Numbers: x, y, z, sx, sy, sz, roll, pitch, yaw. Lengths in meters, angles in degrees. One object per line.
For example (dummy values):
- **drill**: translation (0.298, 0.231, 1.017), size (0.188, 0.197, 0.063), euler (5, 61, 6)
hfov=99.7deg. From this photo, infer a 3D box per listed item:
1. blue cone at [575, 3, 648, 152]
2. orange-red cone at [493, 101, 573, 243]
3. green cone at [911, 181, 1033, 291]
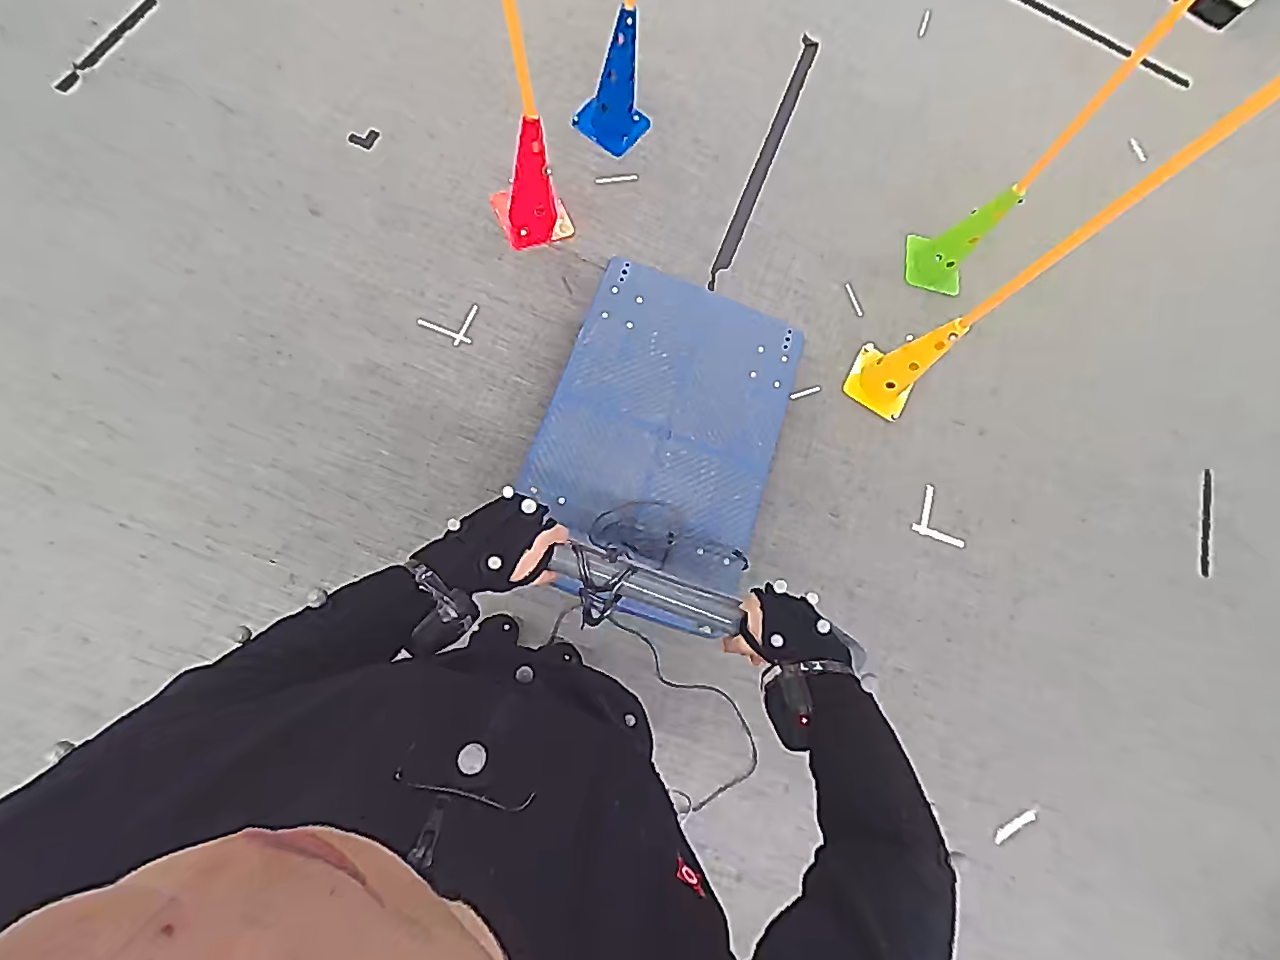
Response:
- **blue cone**: translation (-0.060, -1.199, 1.590), size (0.193, 0.380, 0.192), euler (37, 74, 0)
- **orange-red cone**: translation (-0.284, -0.844, 1.447), size (0.199, 0.360, 0.198), euler (-21, 82, -16)
- **green cone**: translation (1.043, -0.785, 1.676), size (0.200, 0.368, 0.202), euler (10, 76, -8)
